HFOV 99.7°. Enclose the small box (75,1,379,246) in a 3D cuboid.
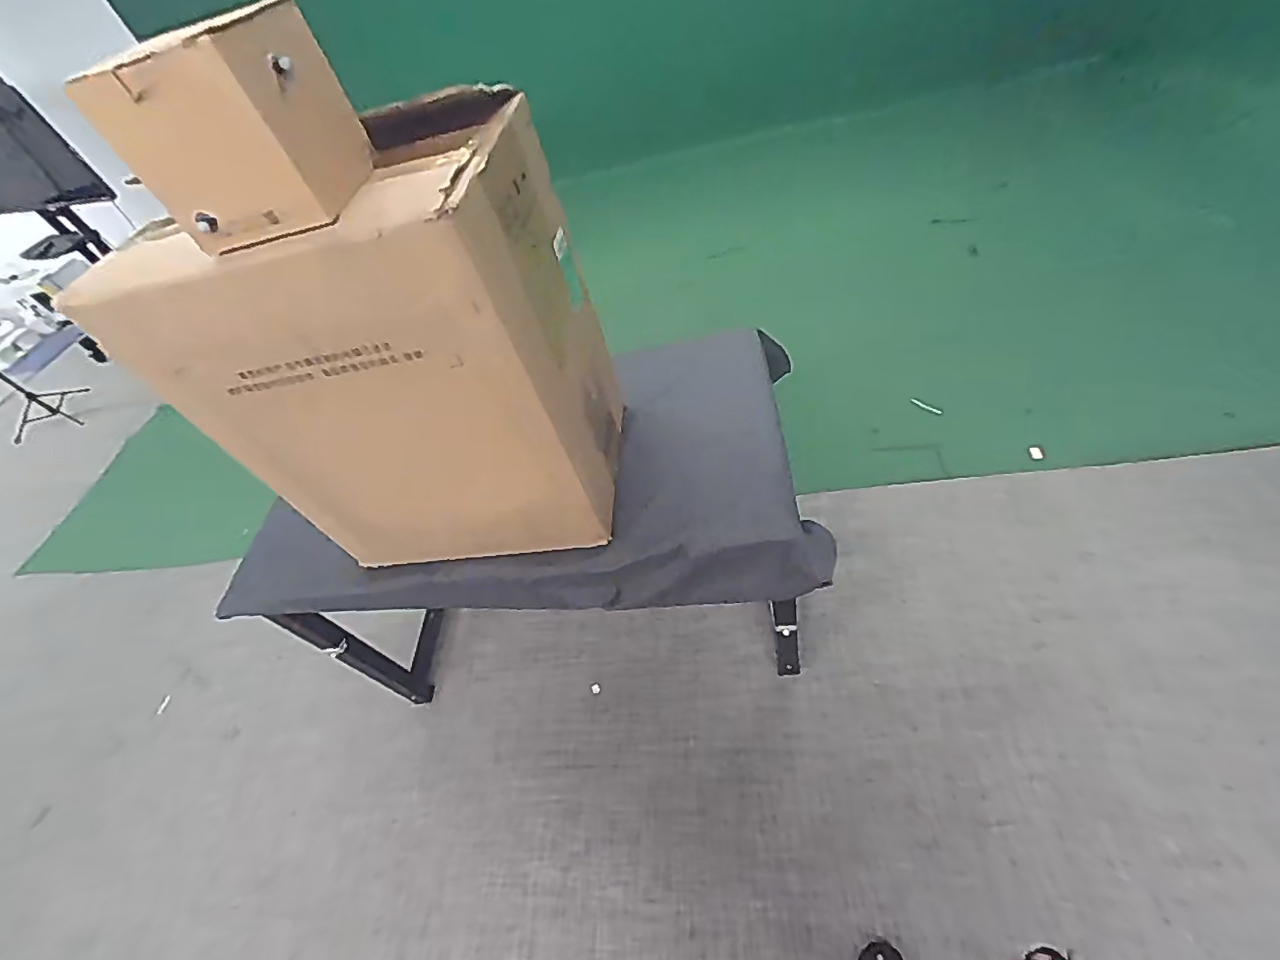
[{"bbox_3d":[-0.423,-0.379,0.595,0.168,0.176,0.179,-8,49,10],"label":"small box"}]
